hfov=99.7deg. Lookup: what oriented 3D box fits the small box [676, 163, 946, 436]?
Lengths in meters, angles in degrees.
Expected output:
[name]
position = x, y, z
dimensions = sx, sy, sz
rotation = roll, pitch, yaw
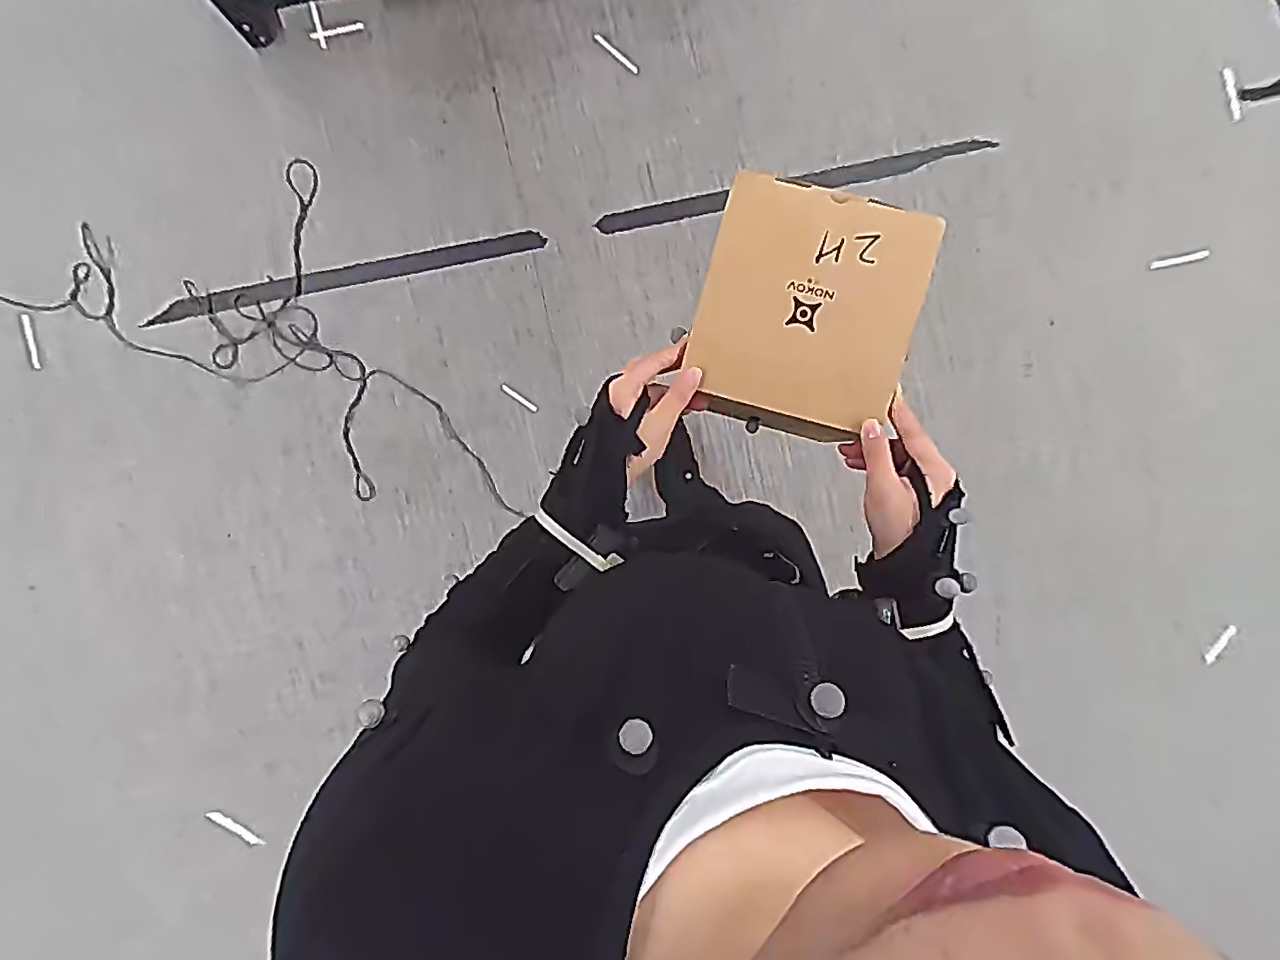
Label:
[small box]
position = 0.136, -0.142, 0.493
dimensions = 0.168, 0.176, 0.179
rotation = 16, 93, 3
